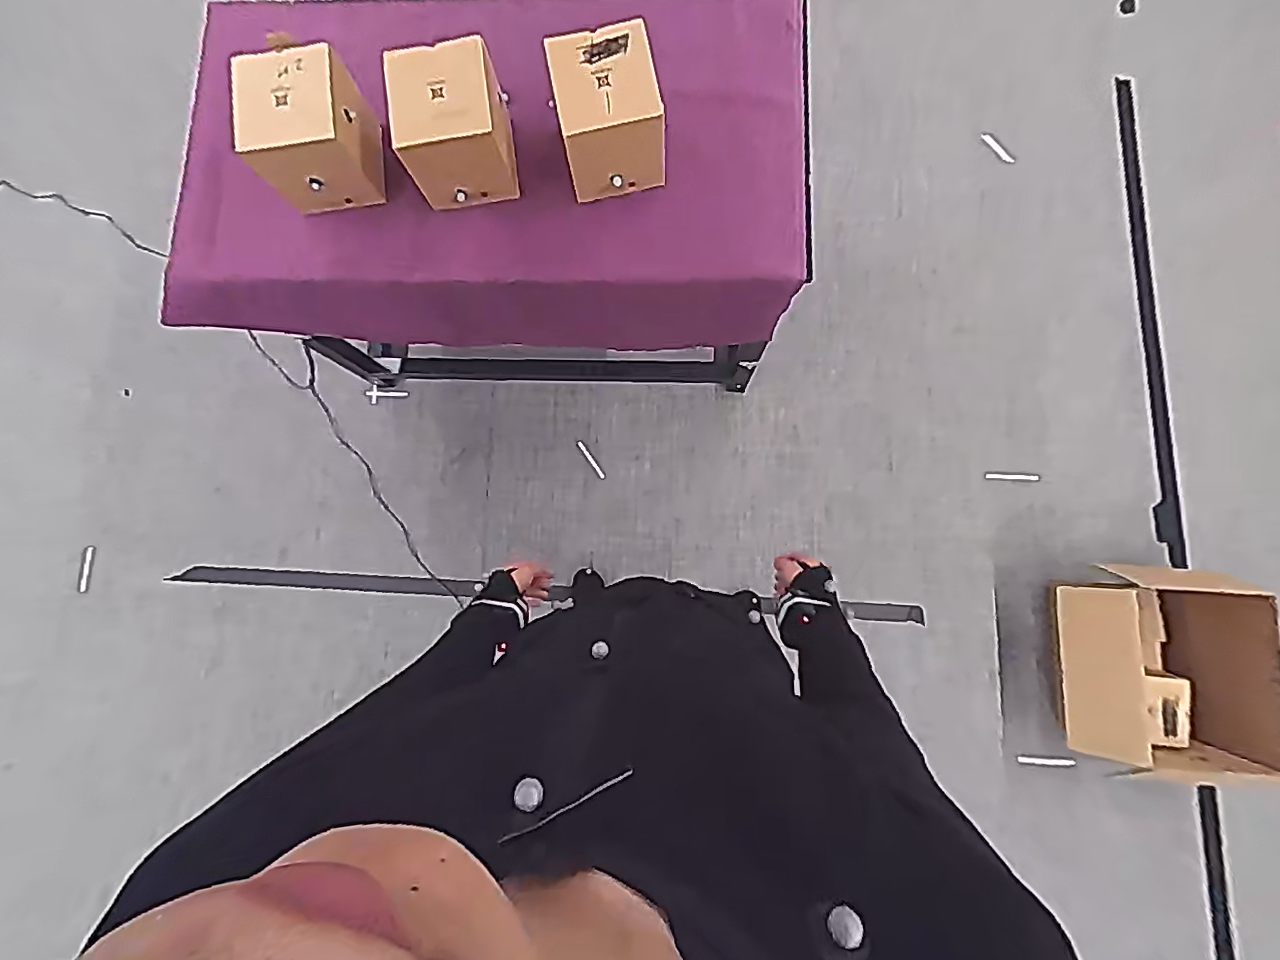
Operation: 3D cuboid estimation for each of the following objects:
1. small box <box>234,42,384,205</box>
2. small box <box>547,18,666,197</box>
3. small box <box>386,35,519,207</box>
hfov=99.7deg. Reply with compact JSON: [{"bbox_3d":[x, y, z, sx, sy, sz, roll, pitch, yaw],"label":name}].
[{"bbox_3d":[-0.572,-0.612,0.953,0.168,0.176,0.179,-7,82,1],"label":"small box"},{"bbox_3d":[-0.053,-0.630,0.932,0.168,0.176,0.179,-12,83,1],"label":"small box"},{"bbox_3d":[-0.319,-0.616,0.944,0.168,0.176,0.179,-8,82,2],"label":"small box"}]
